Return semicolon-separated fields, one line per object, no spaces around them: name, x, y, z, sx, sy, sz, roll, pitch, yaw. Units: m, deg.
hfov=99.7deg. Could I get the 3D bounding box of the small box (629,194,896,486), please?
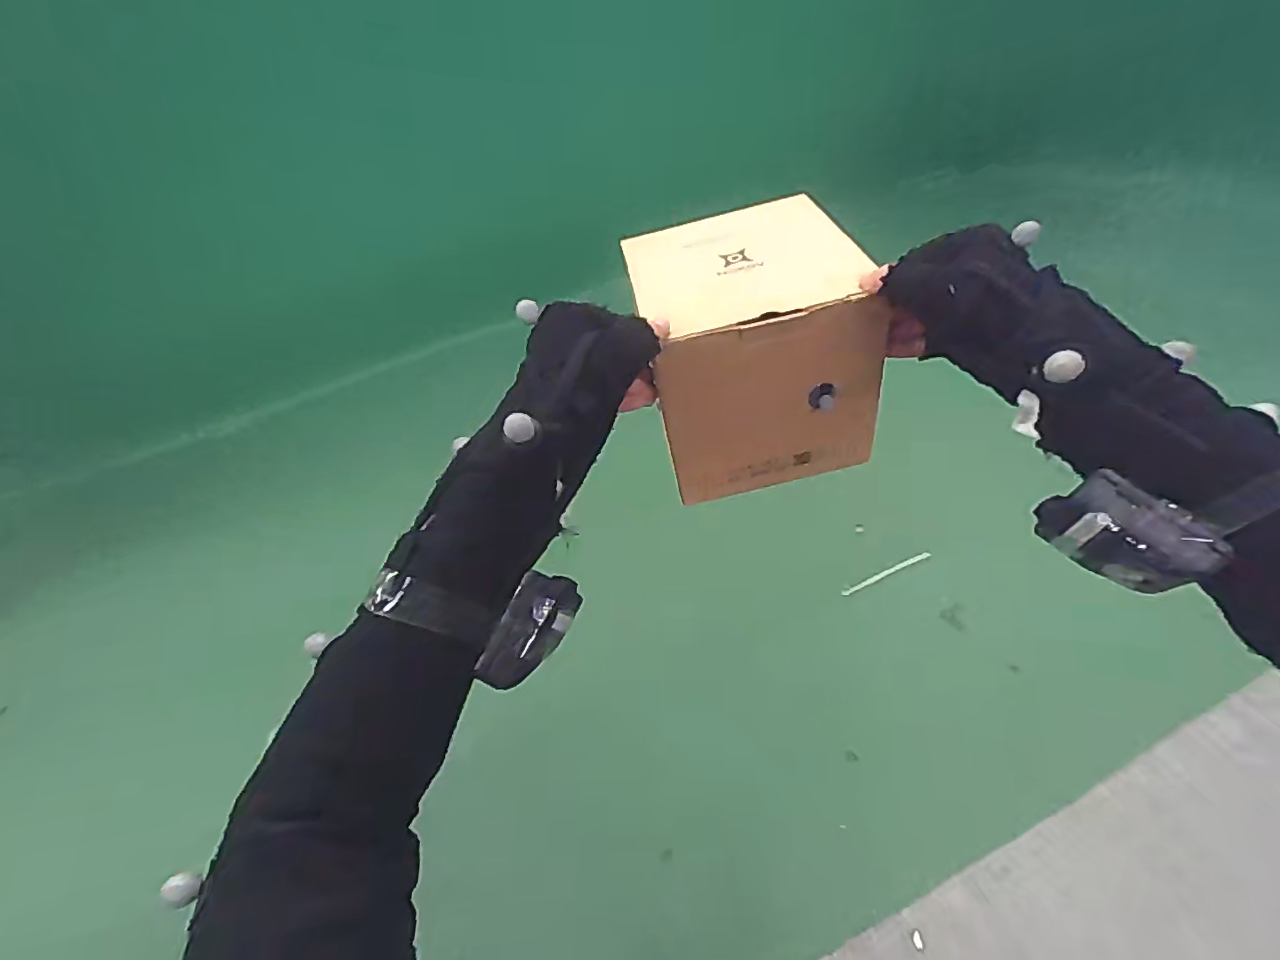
small box;0.094;-0.112;0.466;0.168;0.176;0.179;-13;45;3
